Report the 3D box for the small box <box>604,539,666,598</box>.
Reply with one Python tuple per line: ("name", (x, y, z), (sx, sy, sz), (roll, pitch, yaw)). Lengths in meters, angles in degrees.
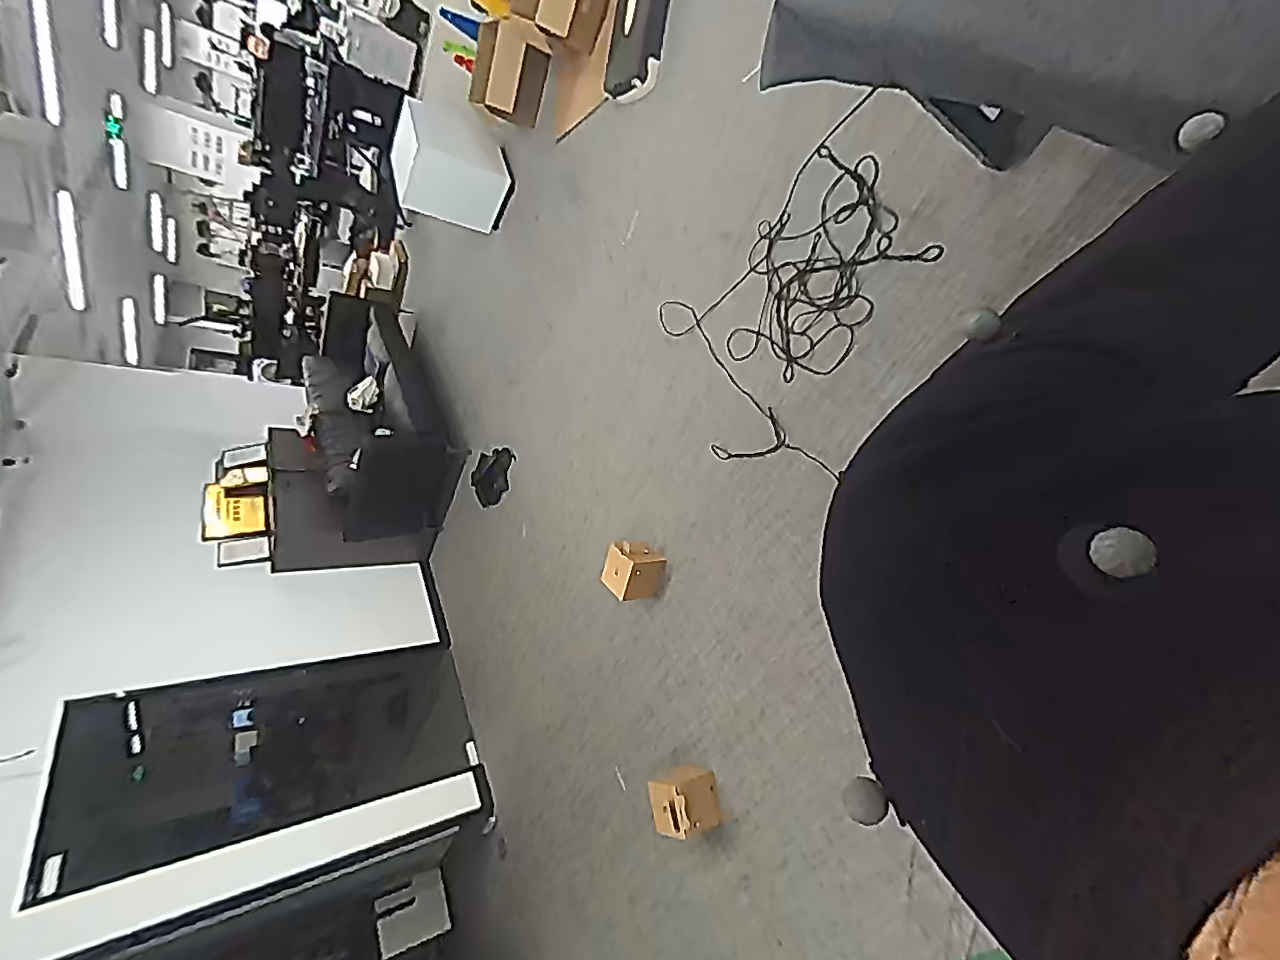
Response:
("small box", (-0.017, 0.352, 2.183), (0.168, 0.176, 0.179), (35, 115, 47))
